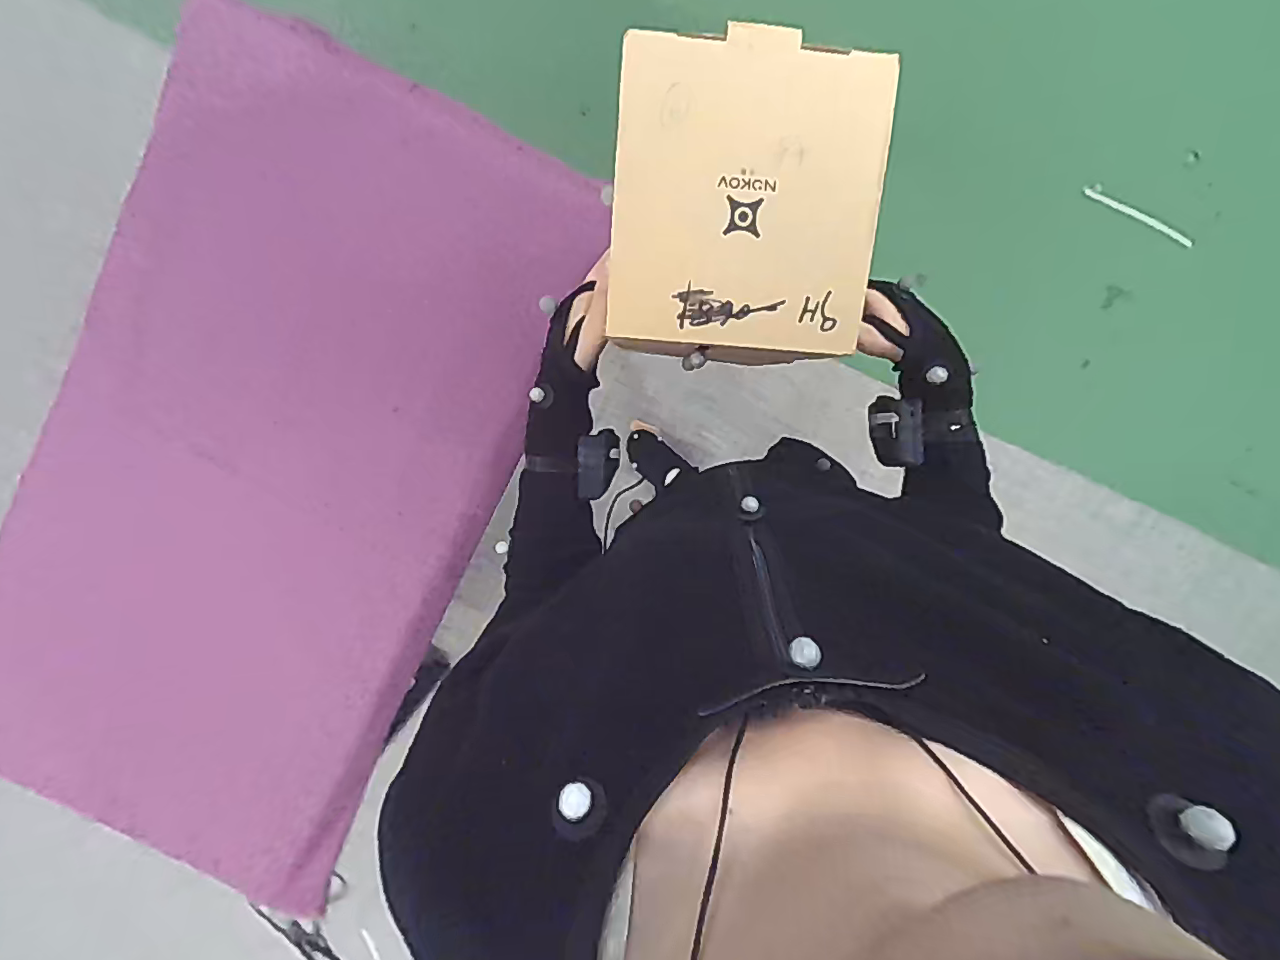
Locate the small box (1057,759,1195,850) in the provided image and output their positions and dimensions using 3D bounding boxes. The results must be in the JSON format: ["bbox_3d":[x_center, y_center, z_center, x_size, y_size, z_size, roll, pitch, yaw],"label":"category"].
[{"bbox_3d":[1.240,0.862,1.398,0.179,0.176,0.168,20,98,2],"label":"small box"}]

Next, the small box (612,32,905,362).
[{"bbox_3d":[0.071,-0.188,0.414,0.168,0.176,0.179,5,101,0],"label":"small box"}]

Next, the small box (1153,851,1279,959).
[{"bbox_3d":[1.196,0.894,1.076,0.168,0.176,0.179,21,98,4],"label":"small box"}]

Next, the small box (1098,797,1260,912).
[{"bbox_3d":[1.216,0.874,1.237,0.168,0.176,0.179,21,98,3],"label":"small box"}]
